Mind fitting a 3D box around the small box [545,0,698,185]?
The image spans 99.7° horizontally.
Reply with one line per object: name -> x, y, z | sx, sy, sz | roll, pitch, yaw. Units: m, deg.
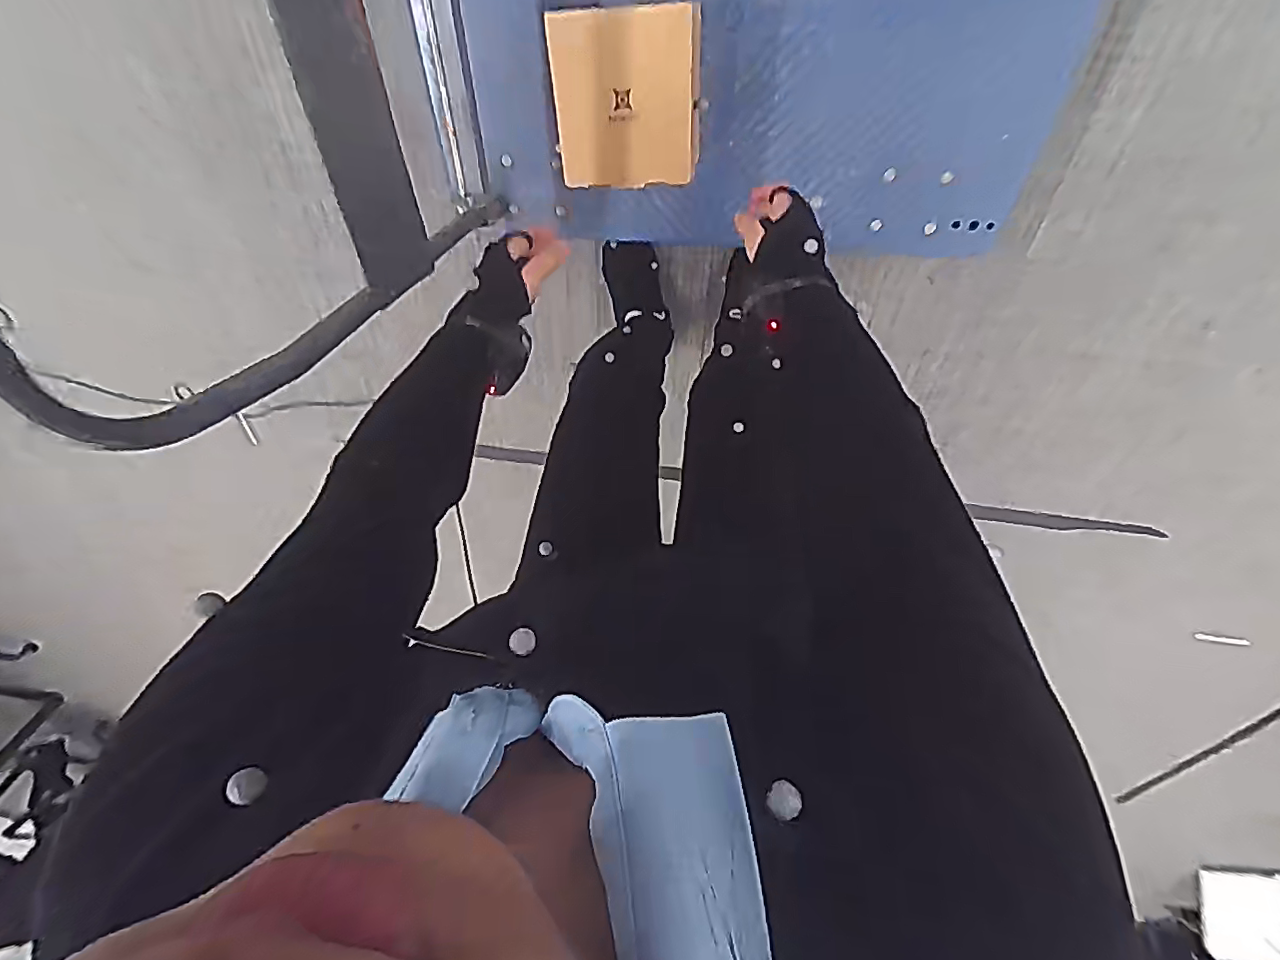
small box -> -0.012, -0.499, 0.697 | 0.168, 0.176, 0.179 | 2, 132, 7

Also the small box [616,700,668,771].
small box -> 0.010, 0.934, 1.982 | 0.168, 0.176, 0.179 | 9, 131, 1
